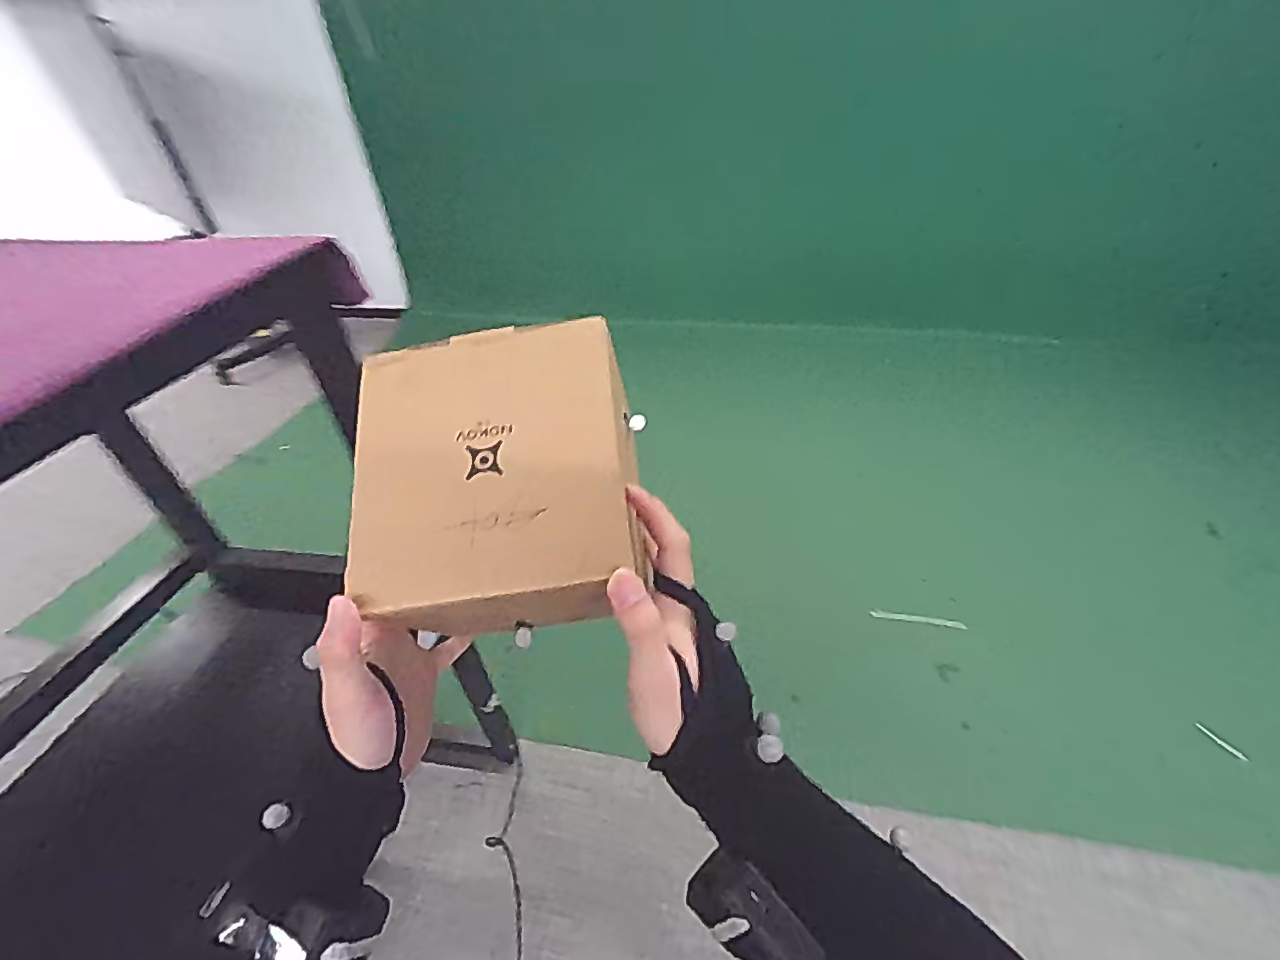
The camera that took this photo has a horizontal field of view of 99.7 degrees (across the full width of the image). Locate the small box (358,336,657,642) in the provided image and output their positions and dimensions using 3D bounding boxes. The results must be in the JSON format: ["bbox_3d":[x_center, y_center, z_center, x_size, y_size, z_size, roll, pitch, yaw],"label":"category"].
[{"bbox_3d":[-0.081,0.020,0.410,0.168,0.176,0.179,-8,69,4],"label":"small box"}]
